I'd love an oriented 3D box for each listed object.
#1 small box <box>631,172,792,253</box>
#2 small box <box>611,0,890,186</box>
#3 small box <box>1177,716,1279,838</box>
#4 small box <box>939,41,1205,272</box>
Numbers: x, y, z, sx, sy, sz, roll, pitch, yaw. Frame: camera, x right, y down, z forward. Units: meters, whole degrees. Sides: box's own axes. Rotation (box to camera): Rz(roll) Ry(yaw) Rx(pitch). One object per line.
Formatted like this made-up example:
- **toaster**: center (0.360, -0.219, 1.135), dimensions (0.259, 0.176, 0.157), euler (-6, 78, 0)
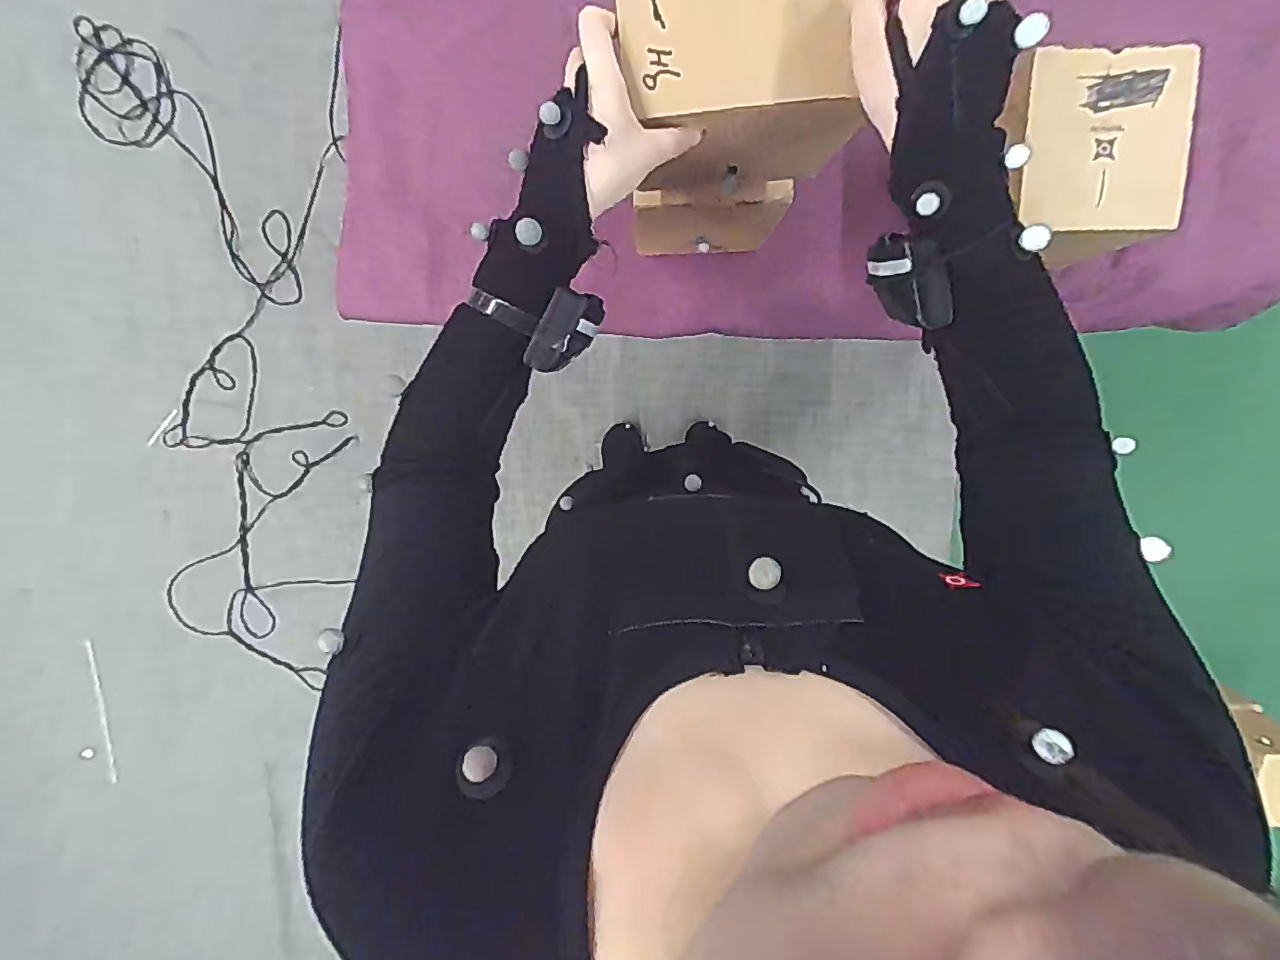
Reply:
- **small box**: center (0.072, -0.377, 0.618), dimensions (0.168, 0.176, 0.179), euler (-1, 96, 2)
- **small box**: center (0.069, -0.342, 0.413), dimensions (0.179, 0.176, 0.168), euler (-3, 102, 3)
- **small box**: center (1.320, 0.624, 1.149), dimensions (0.179, 0.176, 0.168), euler (1, 98, 1)
- **small box**: center (0.467, -0.349, 0.614), dimensions (0.168, 0.176, 0.179), euler (0, 98, 2)
